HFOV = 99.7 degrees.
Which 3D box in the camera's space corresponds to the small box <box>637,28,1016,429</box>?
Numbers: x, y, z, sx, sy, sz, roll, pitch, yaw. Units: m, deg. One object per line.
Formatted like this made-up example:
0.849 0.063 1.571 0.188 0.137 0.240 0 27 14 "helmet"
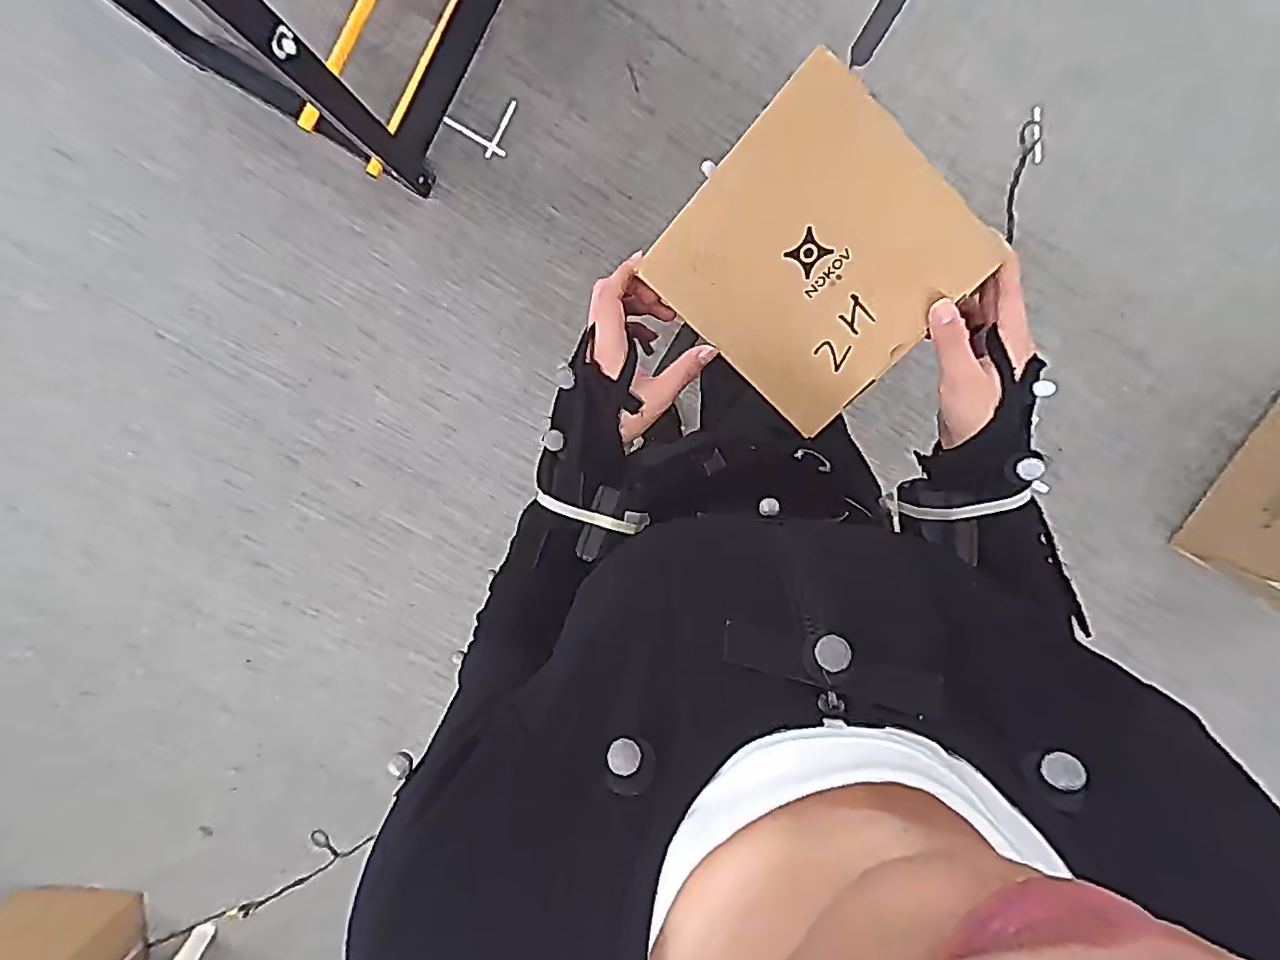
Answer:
0.119 -0.170 0.413 0.179 0.176 0.168 41 110 -11 "small box"
